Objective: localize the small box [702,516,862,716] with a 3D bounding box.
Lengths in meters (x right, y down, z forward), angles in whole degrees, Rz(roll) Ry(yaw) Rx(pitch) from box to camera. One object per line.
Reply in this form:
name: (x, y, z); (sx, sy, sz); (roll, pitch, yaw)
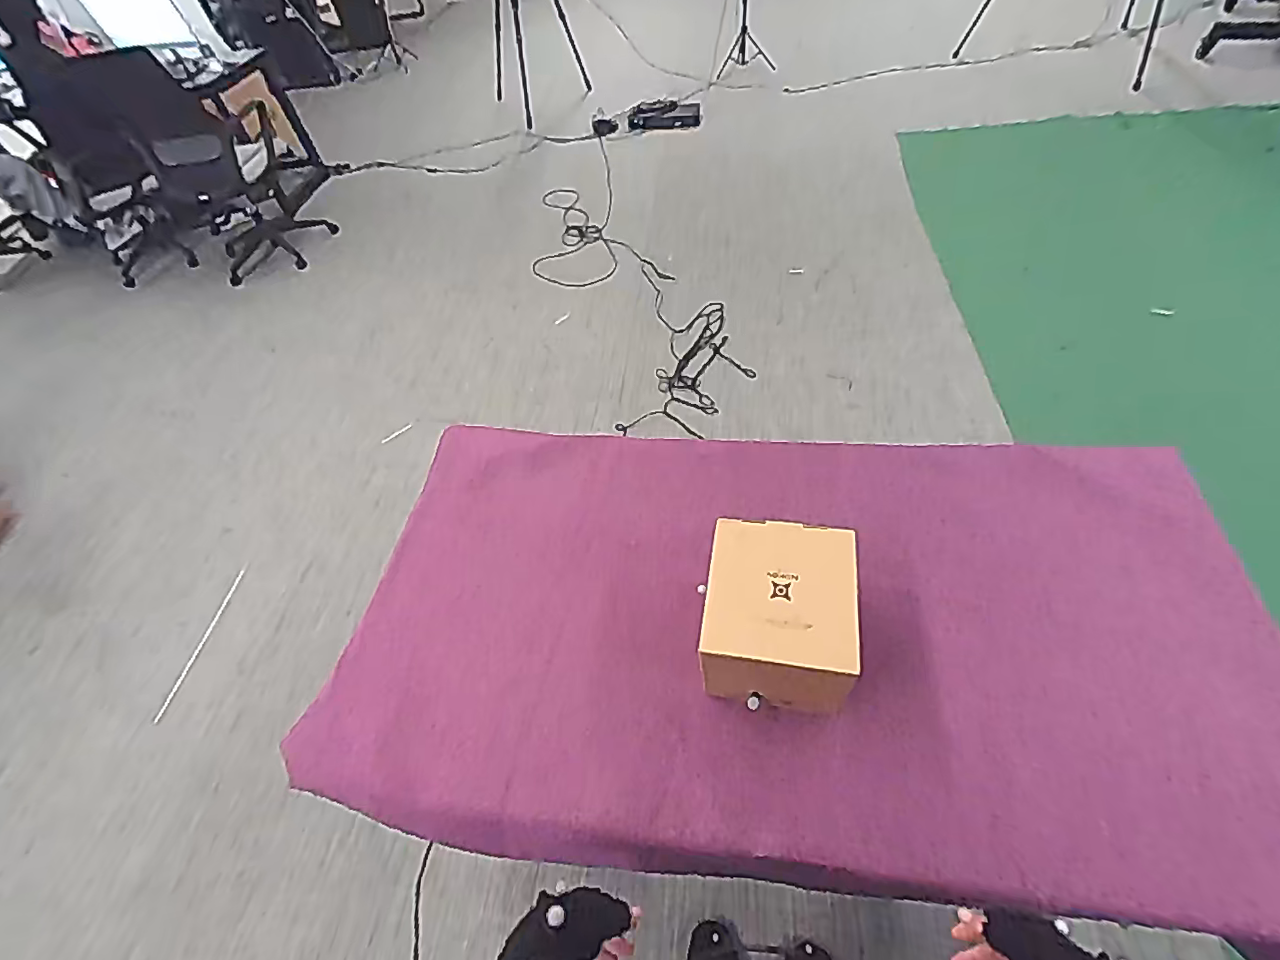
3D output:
small box: (0.171, 0.168, 0.669); (0.168, 0.176, 0.179); (5, 54, 13)
